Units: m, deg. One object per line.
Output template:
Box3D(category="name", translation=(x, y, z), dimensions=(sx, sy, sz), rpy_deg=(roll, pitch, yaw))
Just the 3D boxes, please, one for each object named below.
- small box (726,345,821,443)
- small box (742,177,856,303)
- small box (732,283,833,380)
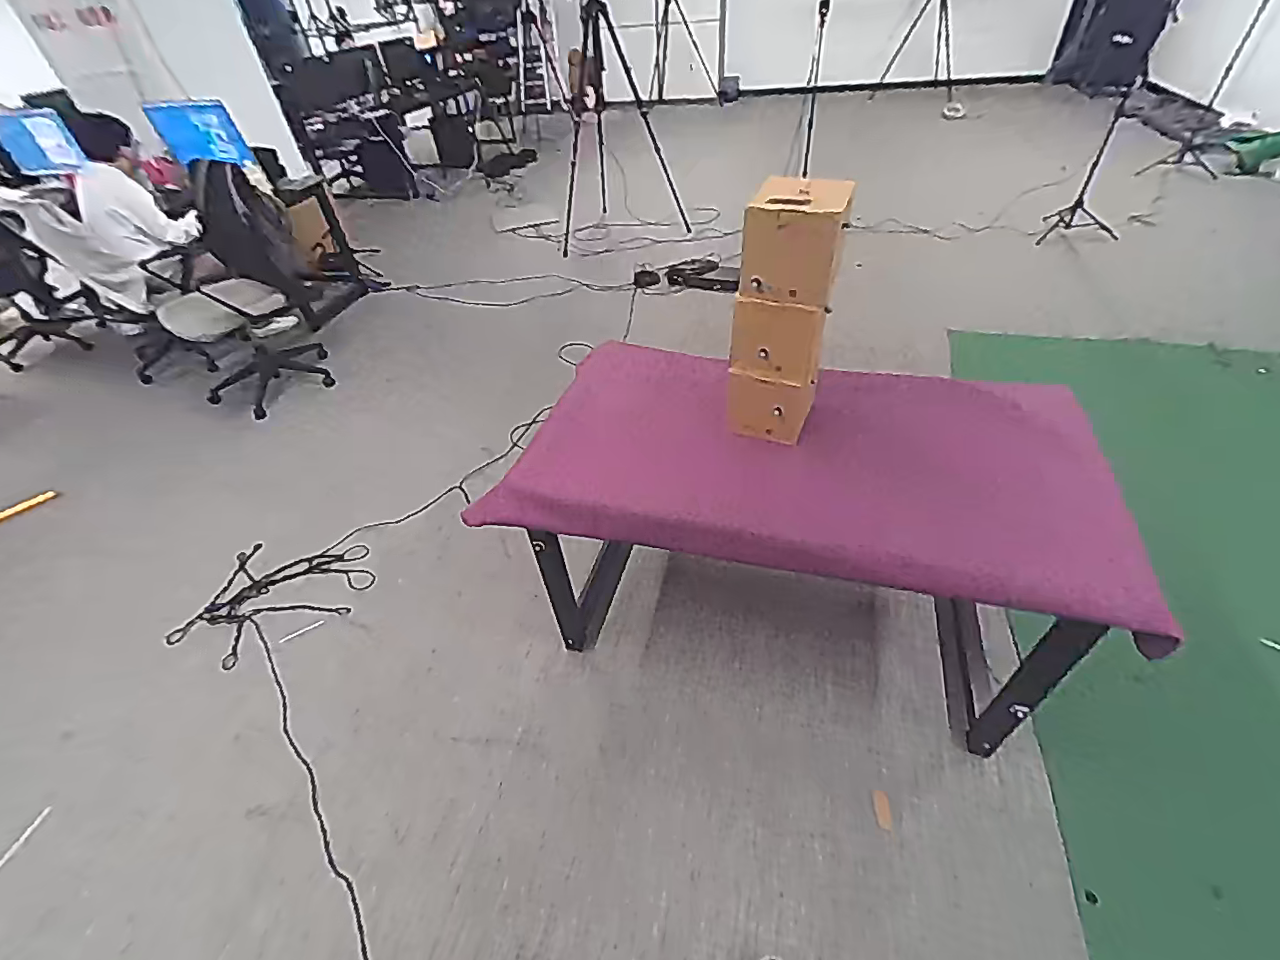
Box3D(category="small box", translation=(0.303, -0.208, 1.239), dimensions=(0.168, 0.176, 0.179), rpy_deg=(16, 47, 21))
Box3D(category="small box", translation=(0.295, -0.454, 1.024), dimensions=(0.168, 0.176, 0.179), rpy_deg=(15, 47, 19))
Box3D(category="small box", translation=(0.296, -0.333, 1.135), dimensions=(0.168, 0.176, 0.179), rpy_deg=(14, 48, 18))
